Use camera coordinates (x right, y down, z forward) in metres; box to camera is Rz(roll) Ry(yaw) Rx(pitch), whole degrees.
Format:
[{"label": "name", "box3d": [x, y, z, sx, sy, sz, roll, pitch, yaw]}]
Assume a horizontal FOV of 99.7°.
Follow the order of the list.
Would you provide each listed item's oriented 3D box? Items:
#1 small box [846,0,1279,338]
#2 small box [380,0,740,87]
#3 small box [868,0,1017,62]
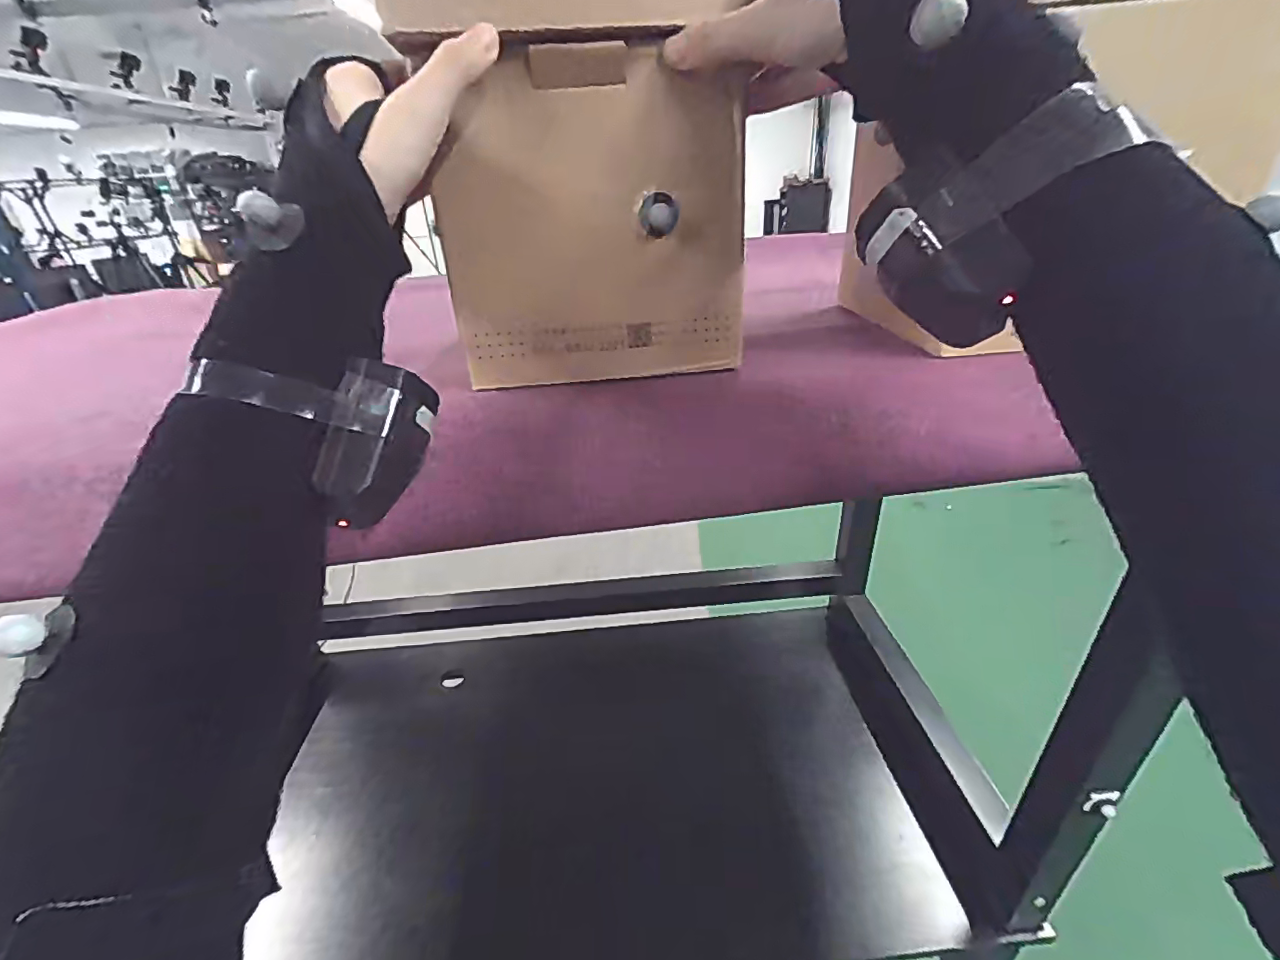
[{"label": "small box", "box3d": [0.253, -0.195, 0.359, 0.168, 0.176, 0.179, -5, 29, 0]}, {"label": "small box", "box3d": [-0.042, -0.315, 0.275, 0.179, 0.176, 0.168, -7, 27, -5]}, {"label": "small box", "box3d": [0.239, -0.338, 0.281, 0.168, 0.176, 0.179, -4, 29, 1]}]
